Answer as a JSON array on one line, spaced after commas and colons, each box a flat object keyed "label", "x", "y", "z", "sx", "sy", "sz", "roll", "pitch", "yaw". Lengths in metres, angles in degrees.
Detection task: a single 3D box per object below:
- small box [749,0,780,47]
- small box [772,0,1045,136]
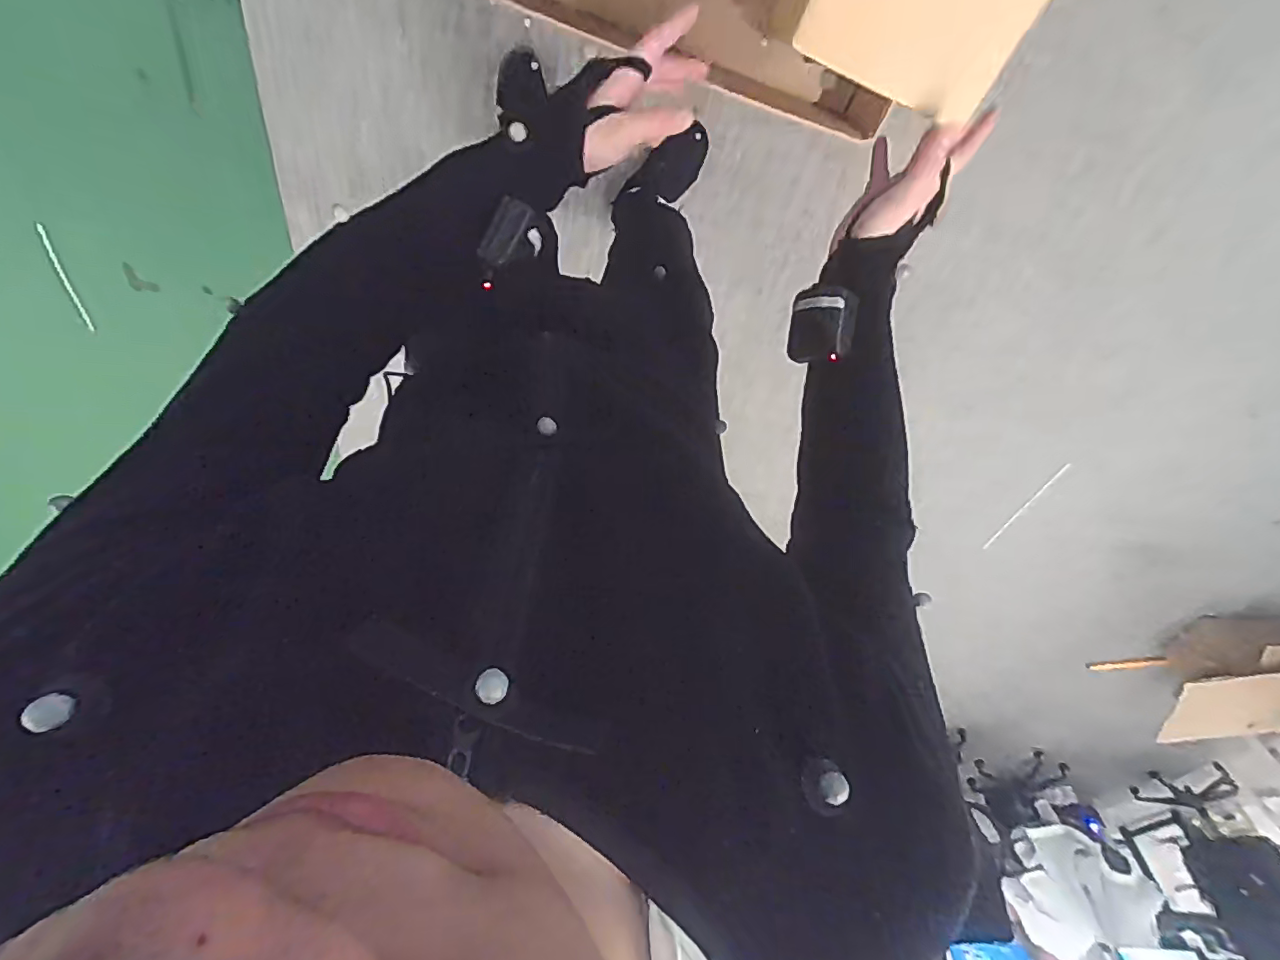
[{"label": "small box", "x": 0.225, "y": -0.538, "z": 0.560, "sx": 0.168, "sy": 0.176, "sz": 0.179, "roll": 16, "pitch": 131, "yaw": -12}, {"label": "small box", "x": 0.223, "y": -0.426, "z": 0.443, "sx": 0.168, "sy": 0.176, "sz": 0.179, "roll": 16, "pitch": 132, "yaw": -12}]
